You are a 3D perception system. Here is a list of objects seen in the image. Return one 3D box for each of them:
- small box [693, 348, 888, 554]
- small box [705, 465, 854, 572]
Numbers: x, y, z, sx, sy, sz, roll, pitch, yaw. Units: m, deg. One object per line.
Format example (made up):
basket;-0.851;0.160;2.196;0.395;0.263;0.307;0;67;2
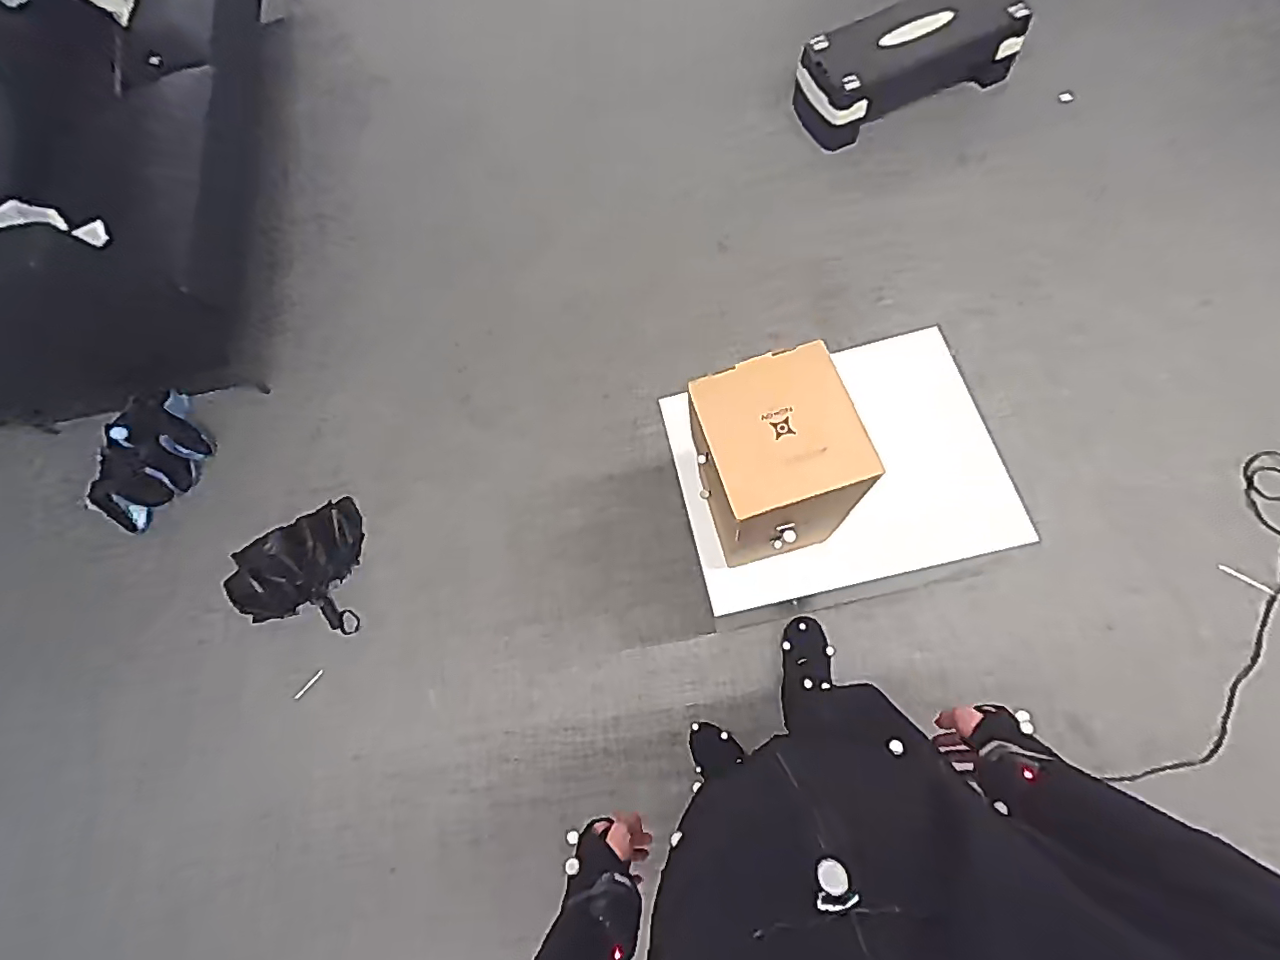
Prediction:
small box;0.171;-0.026;0.666;0.168;0.176;0.179;-18;69;4
small box;0.197;0.025;0.821;0.168;0.176;0.179;-16;70;3
